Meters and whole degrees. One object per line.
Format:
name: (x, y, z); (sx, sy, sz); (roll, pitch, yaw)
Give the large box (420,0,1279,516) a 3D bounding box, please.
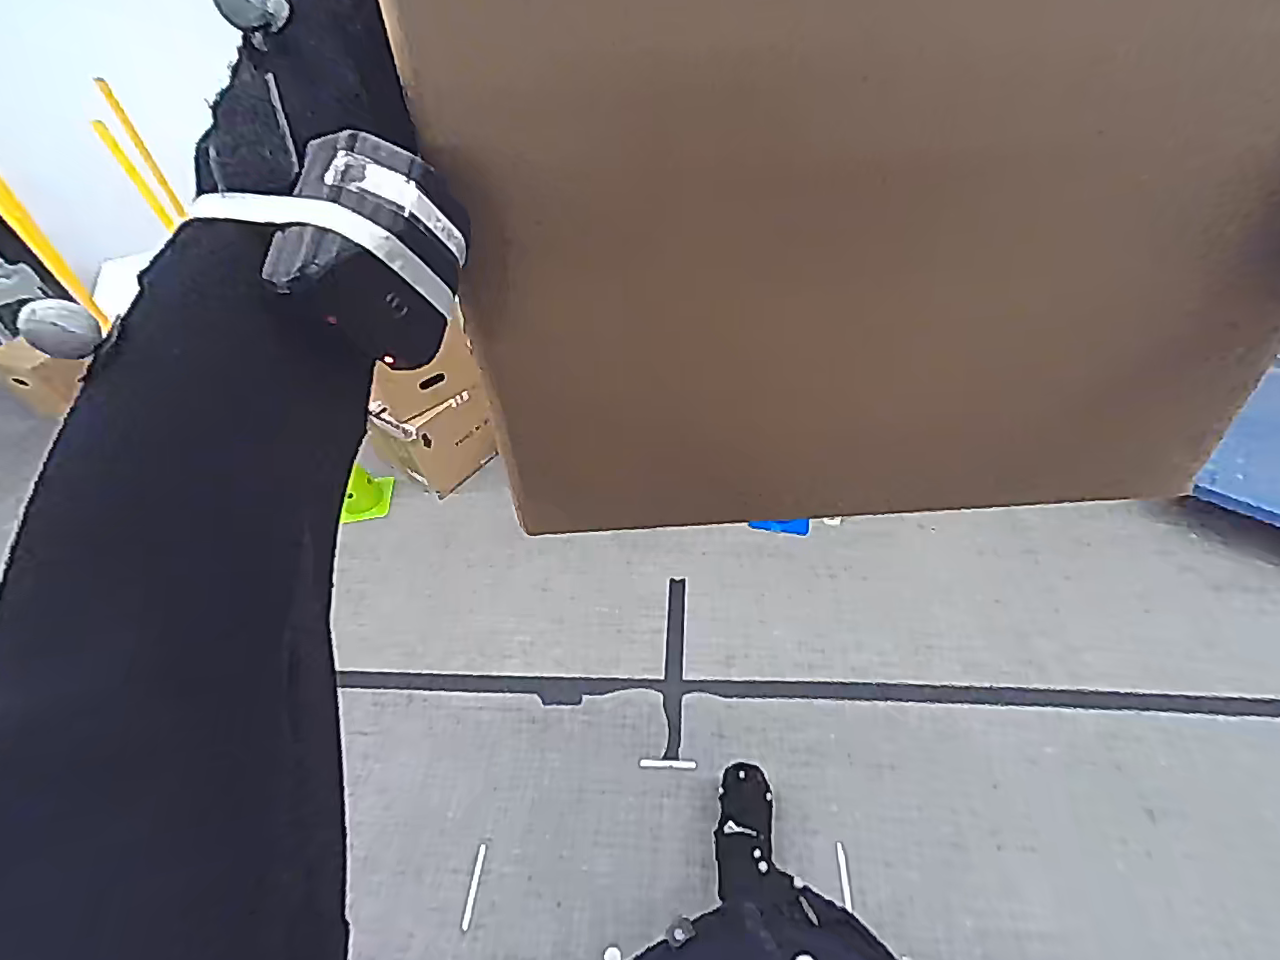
large box: (0.111, -0.196, 0.379); (0.408, 0.320, 0.320); (-4, 36, 0)
